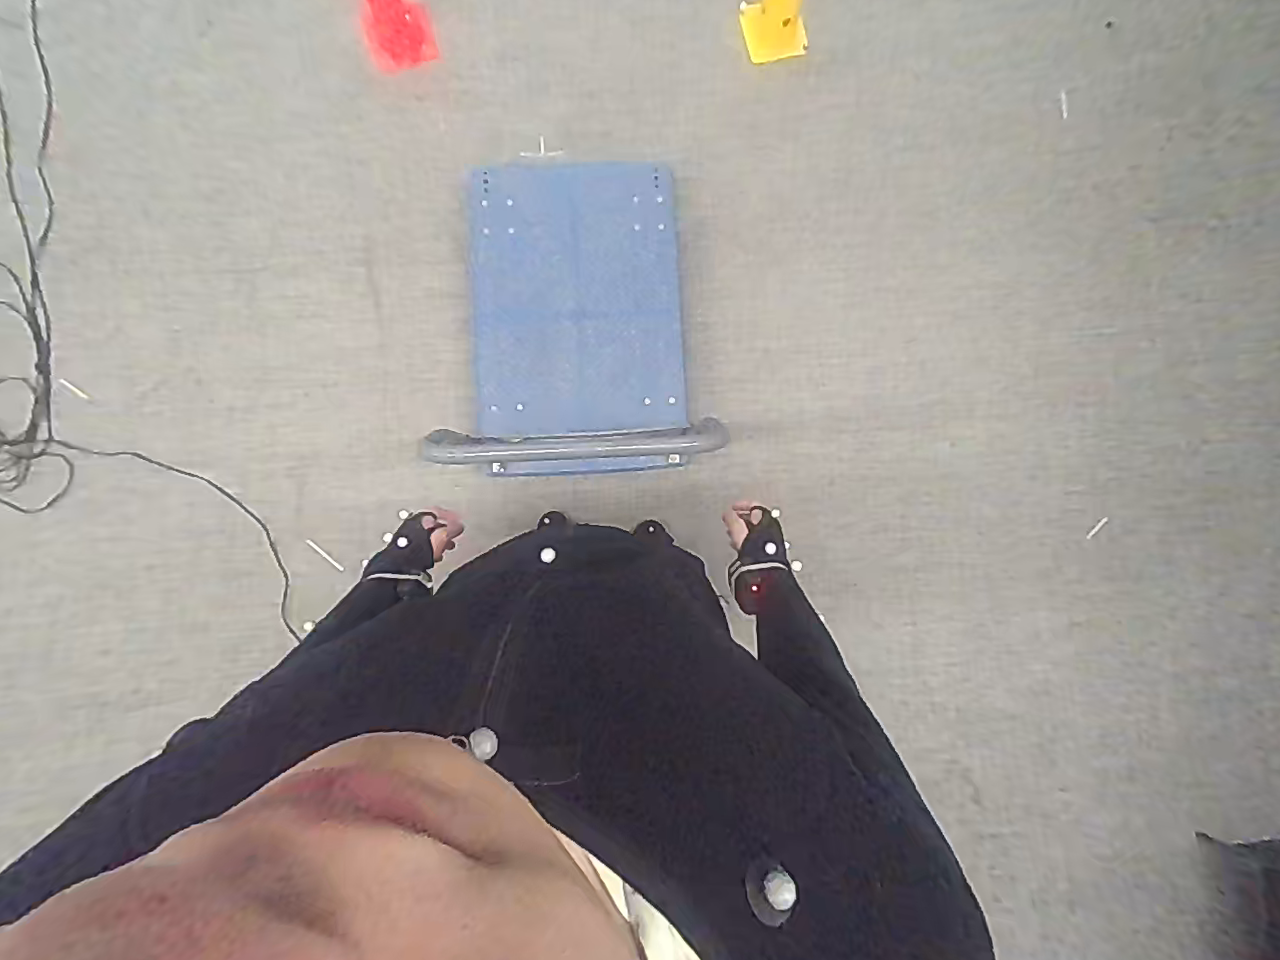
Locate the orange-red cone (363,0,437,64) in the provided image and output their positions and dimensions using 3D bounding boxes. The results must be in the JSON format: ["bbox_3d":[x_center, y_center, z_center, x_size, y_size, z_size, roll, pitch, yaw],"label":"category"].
[{"bbox_3d":[-0.738,-1.407,1.508,0.199,0.360,0.198,-18,88,-2],"label":"orange-red cone"}]
